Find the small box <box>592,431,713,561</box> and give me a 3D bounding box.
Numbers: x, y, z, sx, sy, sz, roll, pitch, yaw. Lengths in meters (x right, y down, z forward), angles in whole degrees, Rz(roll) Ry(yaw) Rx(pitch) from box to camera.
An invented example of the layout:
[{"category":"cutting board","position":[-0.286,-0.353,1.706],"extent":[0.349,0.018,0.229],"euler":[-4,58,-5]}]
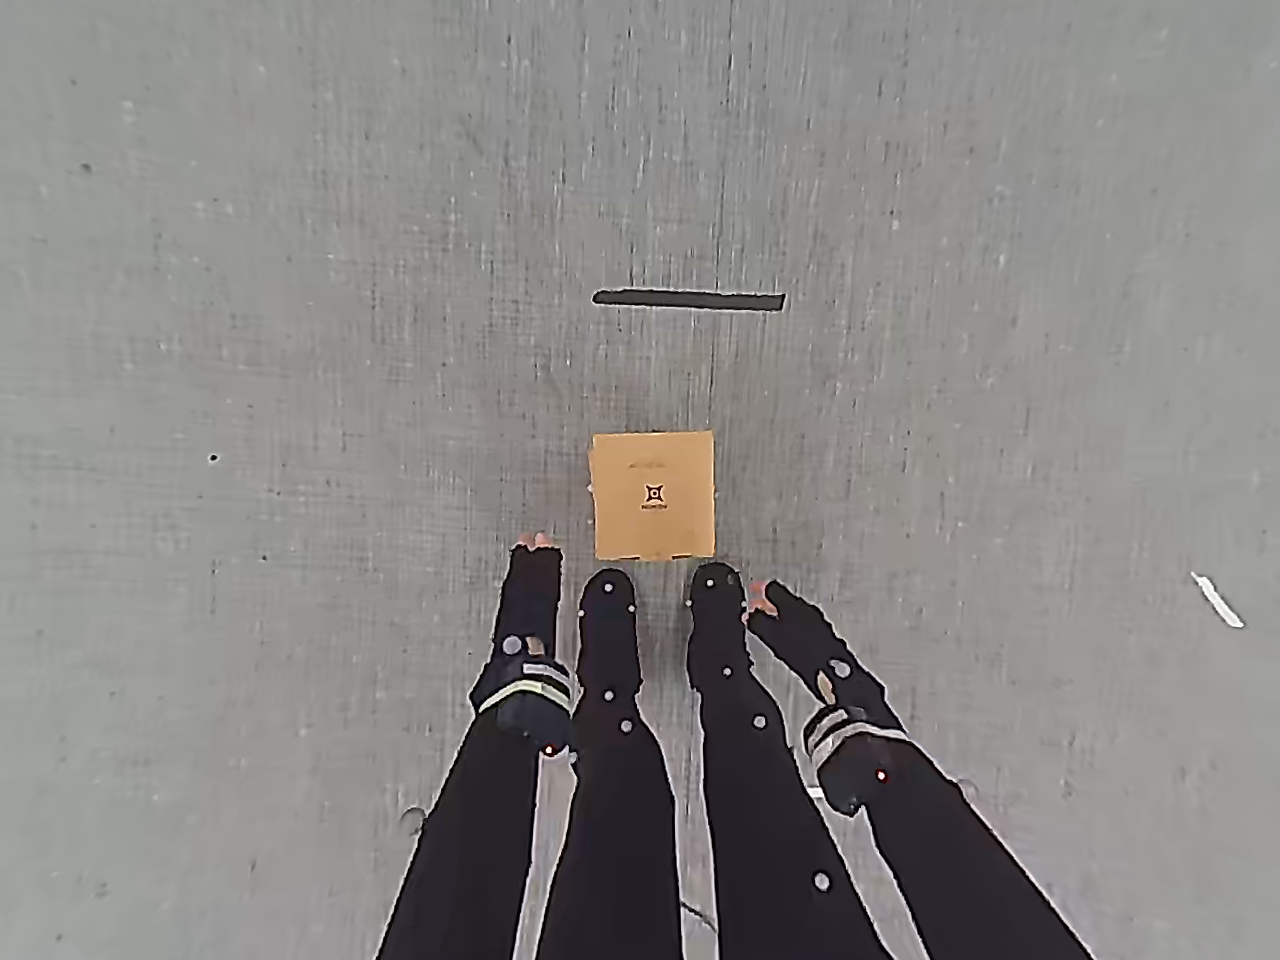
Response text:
[{"category":"small box","position":[0.015,0.016,0.810],"extent":[0.168,0.176,0.179],"euler":[-2,94,-3]}]
